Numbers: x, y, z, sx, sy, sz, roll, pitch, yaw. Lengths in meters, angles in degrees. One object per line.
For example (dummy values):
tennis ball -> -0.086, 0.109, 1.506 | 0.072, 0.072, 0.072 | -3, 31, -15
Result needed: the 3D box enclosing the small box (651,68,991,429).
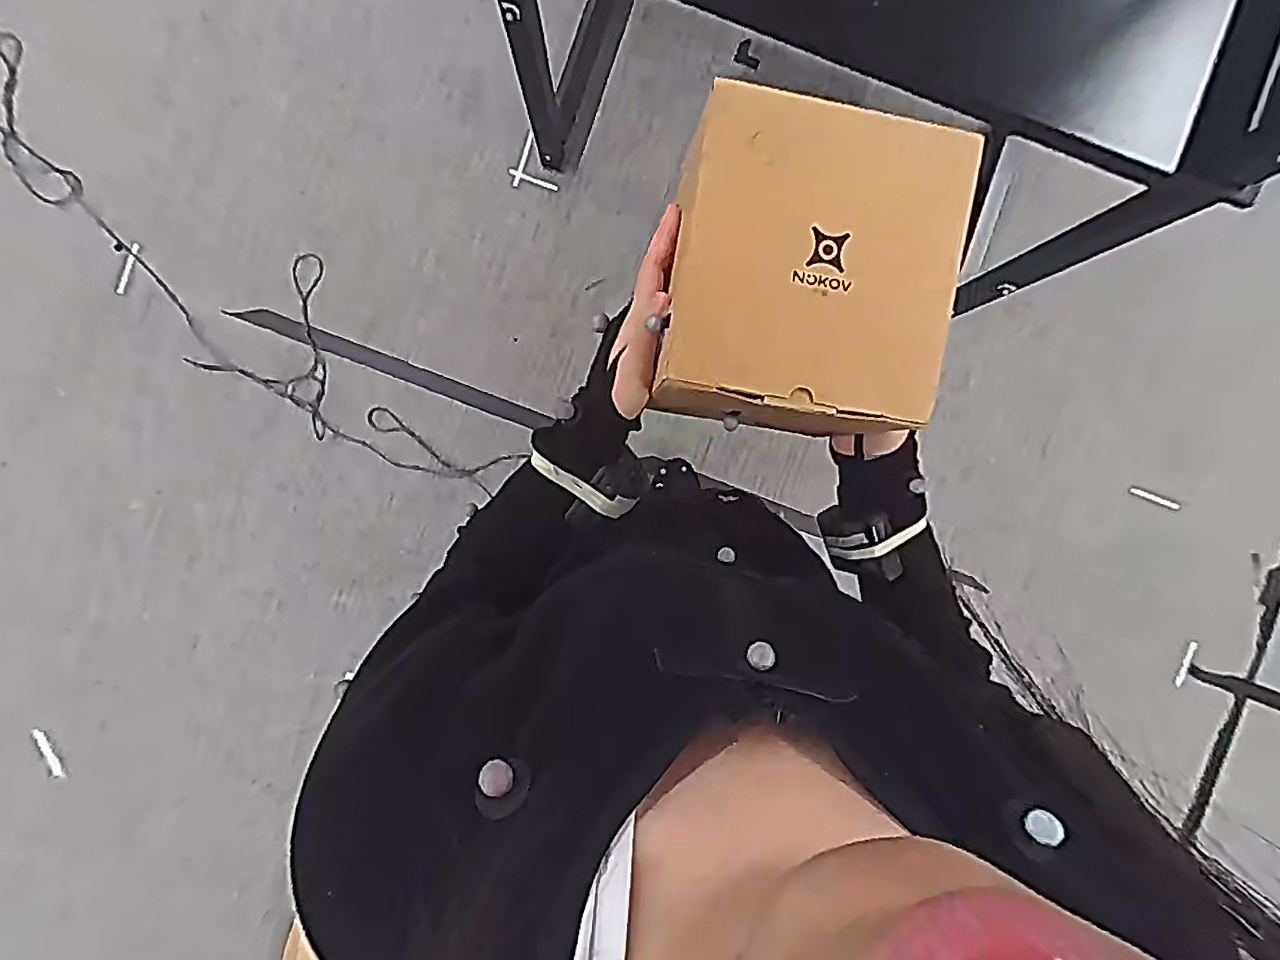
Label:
small box -> 0.105, -0.136, 0.389 | 0.168, 0.176, 0.179 | 8, 93, -5
